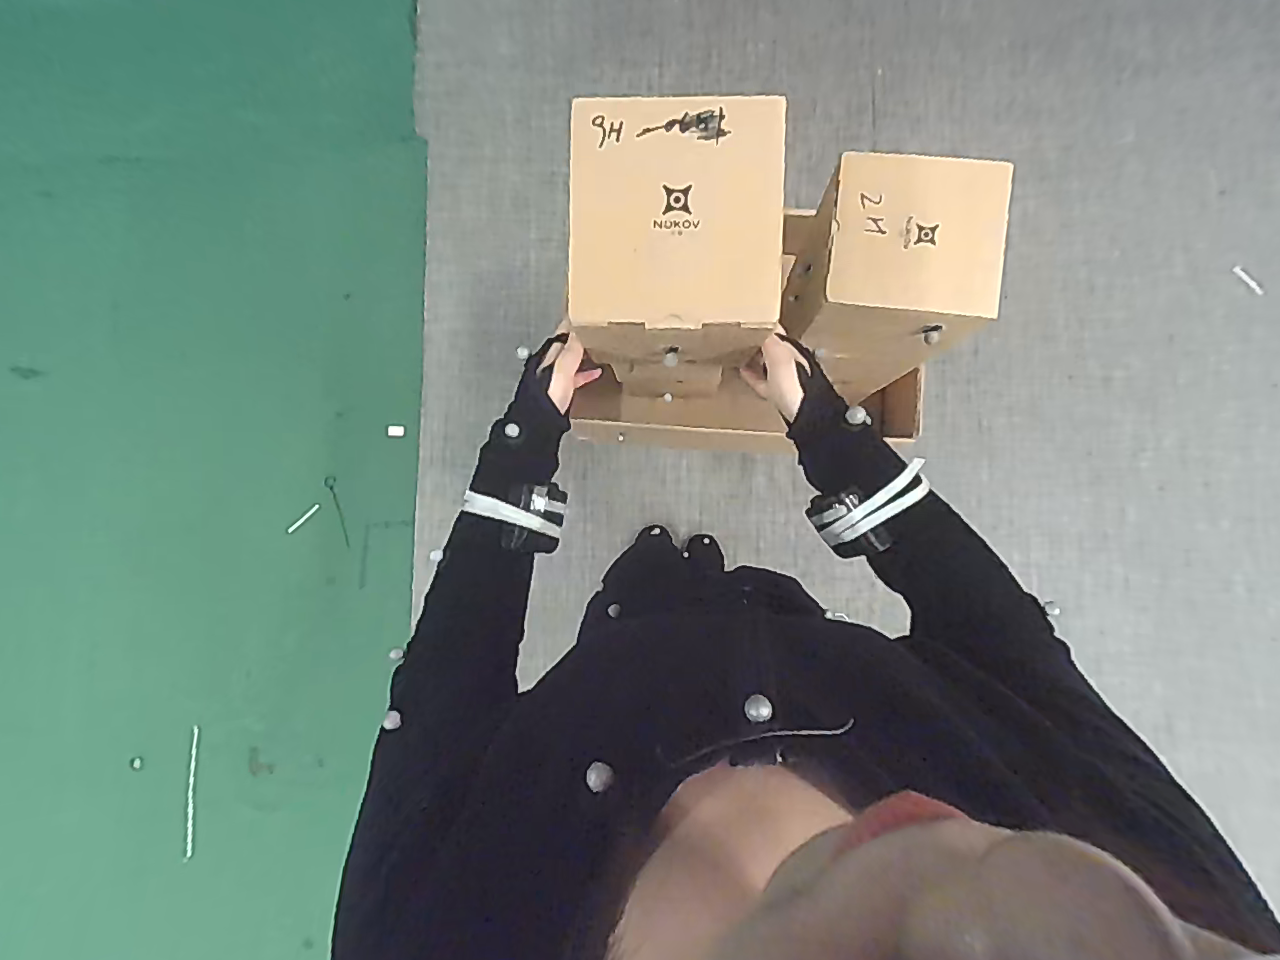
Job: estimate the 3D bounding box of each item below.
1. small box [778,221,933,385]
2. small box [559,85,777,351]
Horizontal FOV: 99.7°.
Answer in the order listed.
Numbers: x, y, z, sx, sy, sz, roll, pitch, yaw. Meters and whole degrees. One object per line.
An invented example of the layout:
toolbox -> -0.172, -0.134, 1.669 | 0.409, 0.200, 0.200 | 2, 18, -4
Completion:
small box -> 0.305, -0.251, 0.797 | 0.168, 0.176, 0.179 | 6, 88, 6
small box -> 0.025, -0.219, 0.497 | 0.168, 0.176, 0.179 | 2, 93, 3
